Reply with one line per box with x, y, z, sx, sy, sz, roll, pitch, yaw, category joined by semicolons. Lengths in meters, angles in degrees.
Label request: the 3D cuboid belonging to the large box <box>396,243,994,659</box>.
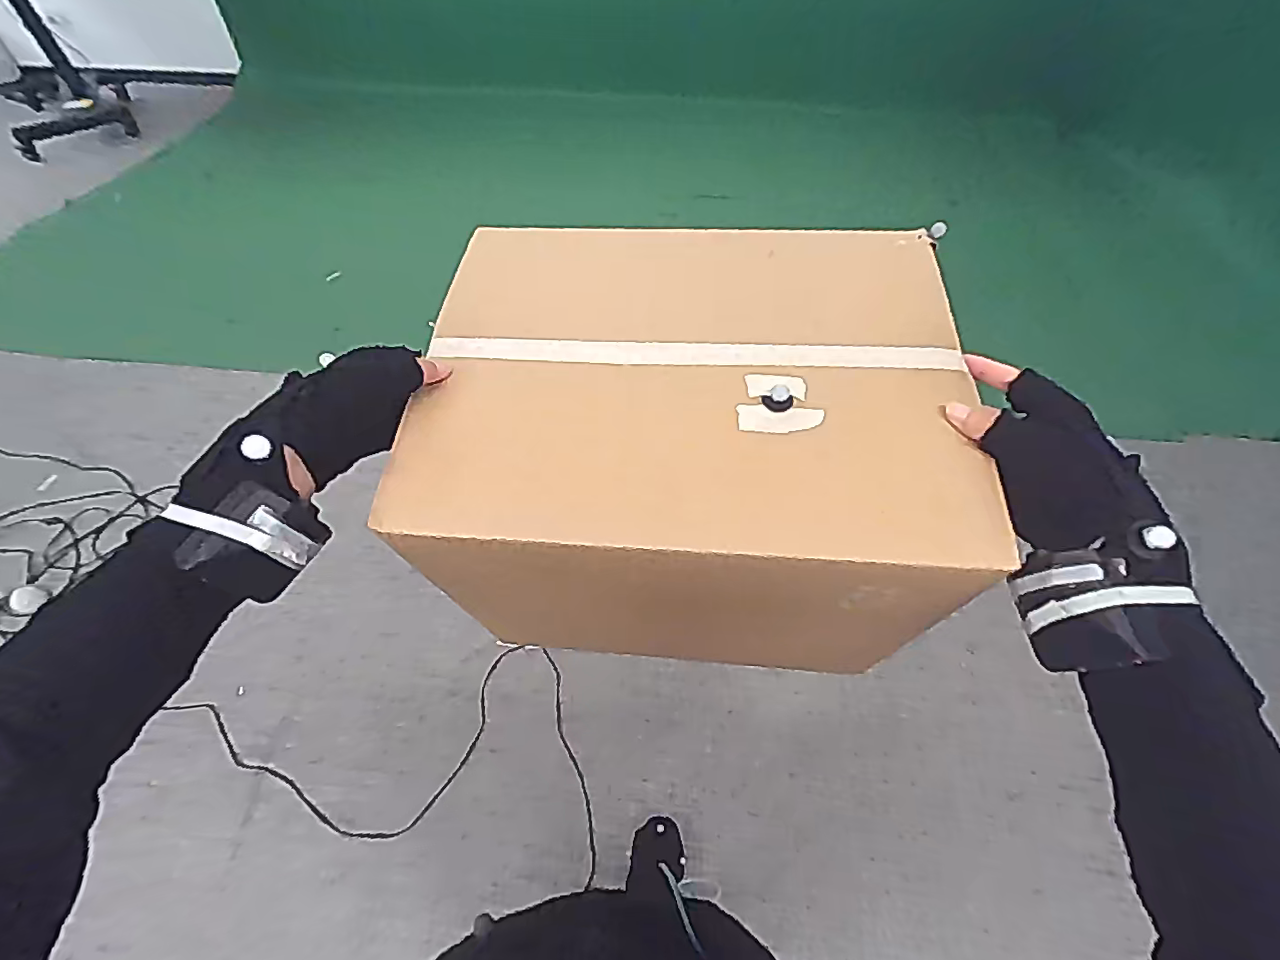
0.045;-0.013;0.557;0.408;0.320;0.320;2;61;5;large box
